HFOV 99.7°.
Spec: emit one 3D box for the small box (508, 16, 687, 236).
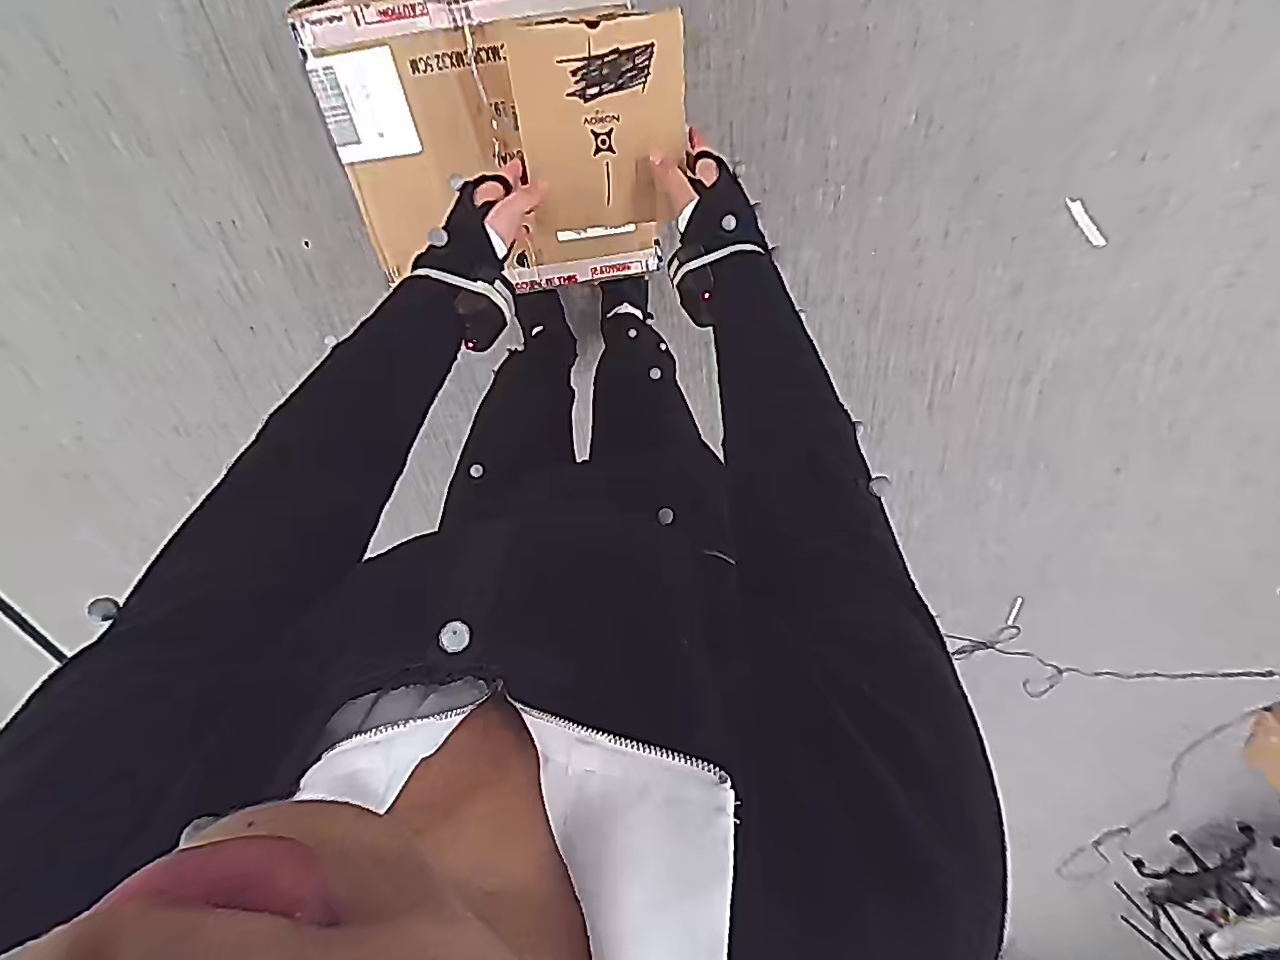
[{"bbox_3d":[-0.043,-0.387,0.600,0.168,0.176,0.179,-7,126,-2],"label":"small box"}]
